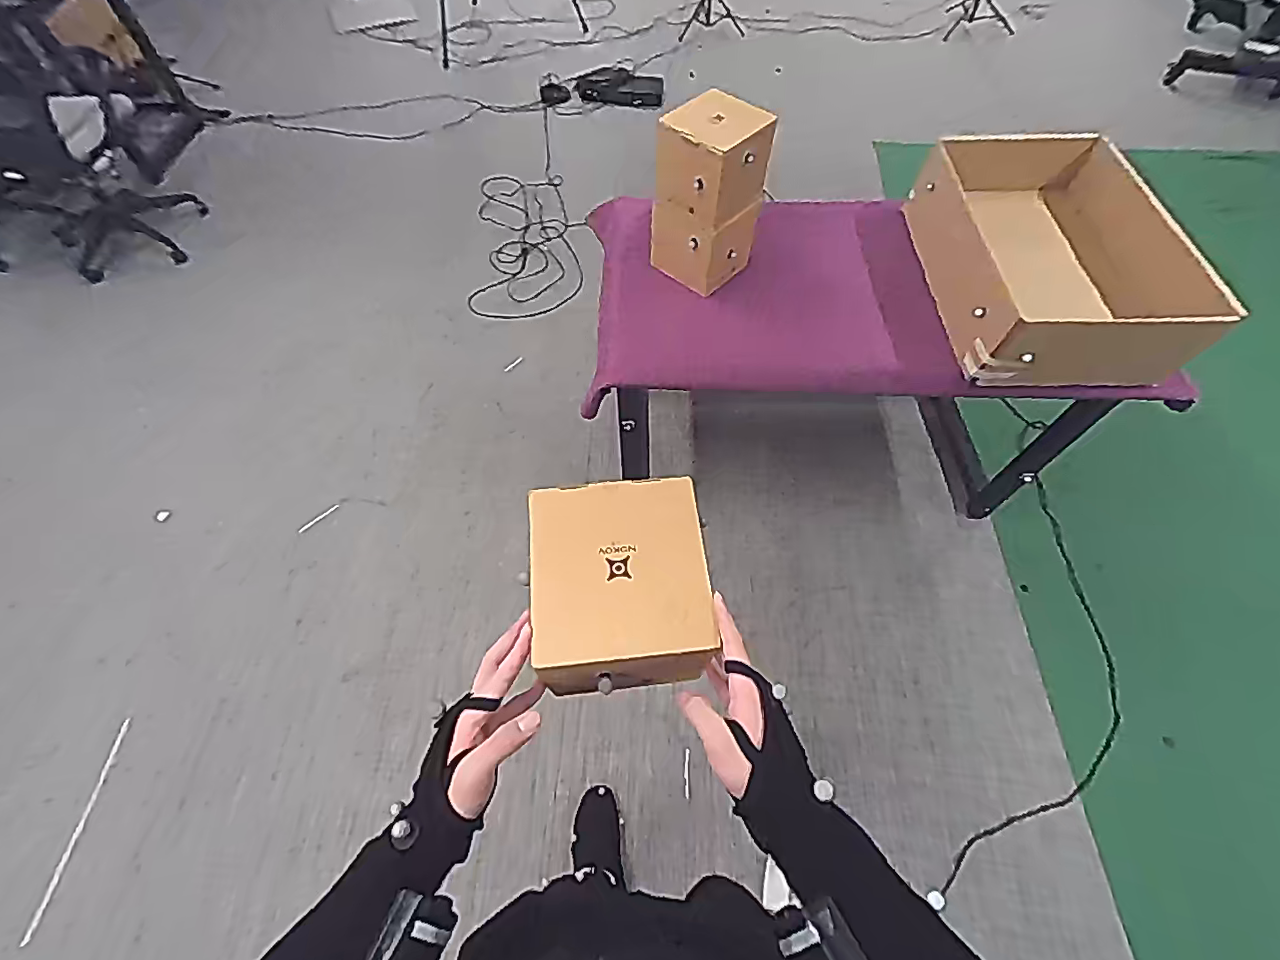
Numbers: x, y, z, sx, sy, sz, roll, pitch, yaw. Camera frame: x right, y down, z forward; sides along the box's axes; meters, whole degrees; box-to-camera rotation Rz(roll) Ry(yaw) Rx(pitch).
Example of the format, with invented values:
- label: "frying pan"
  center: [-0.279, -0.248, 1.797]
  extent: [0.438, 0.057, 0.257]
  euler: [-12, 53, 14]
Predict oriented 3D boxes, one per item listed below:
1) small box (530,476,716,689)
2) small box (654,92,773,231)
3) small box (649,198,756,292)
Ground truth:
- label: "small box"
  center: [-0.021, 0.117, 0.574]
  extent: [0.168, 0.176, 0.179]
  euler: [-5, 60, -4]
- label: "small box"
  center: [0.144, -0.651, 1.114]
  extent: [0.168, 0.176, 0.179]
  euler: [39, 66, 19]
- label: "small box"
  center: [0.138, -0.564, 1.252]
  extent: [0.179, 0.176, 0.168]
  euler: [38, 66, 20]
